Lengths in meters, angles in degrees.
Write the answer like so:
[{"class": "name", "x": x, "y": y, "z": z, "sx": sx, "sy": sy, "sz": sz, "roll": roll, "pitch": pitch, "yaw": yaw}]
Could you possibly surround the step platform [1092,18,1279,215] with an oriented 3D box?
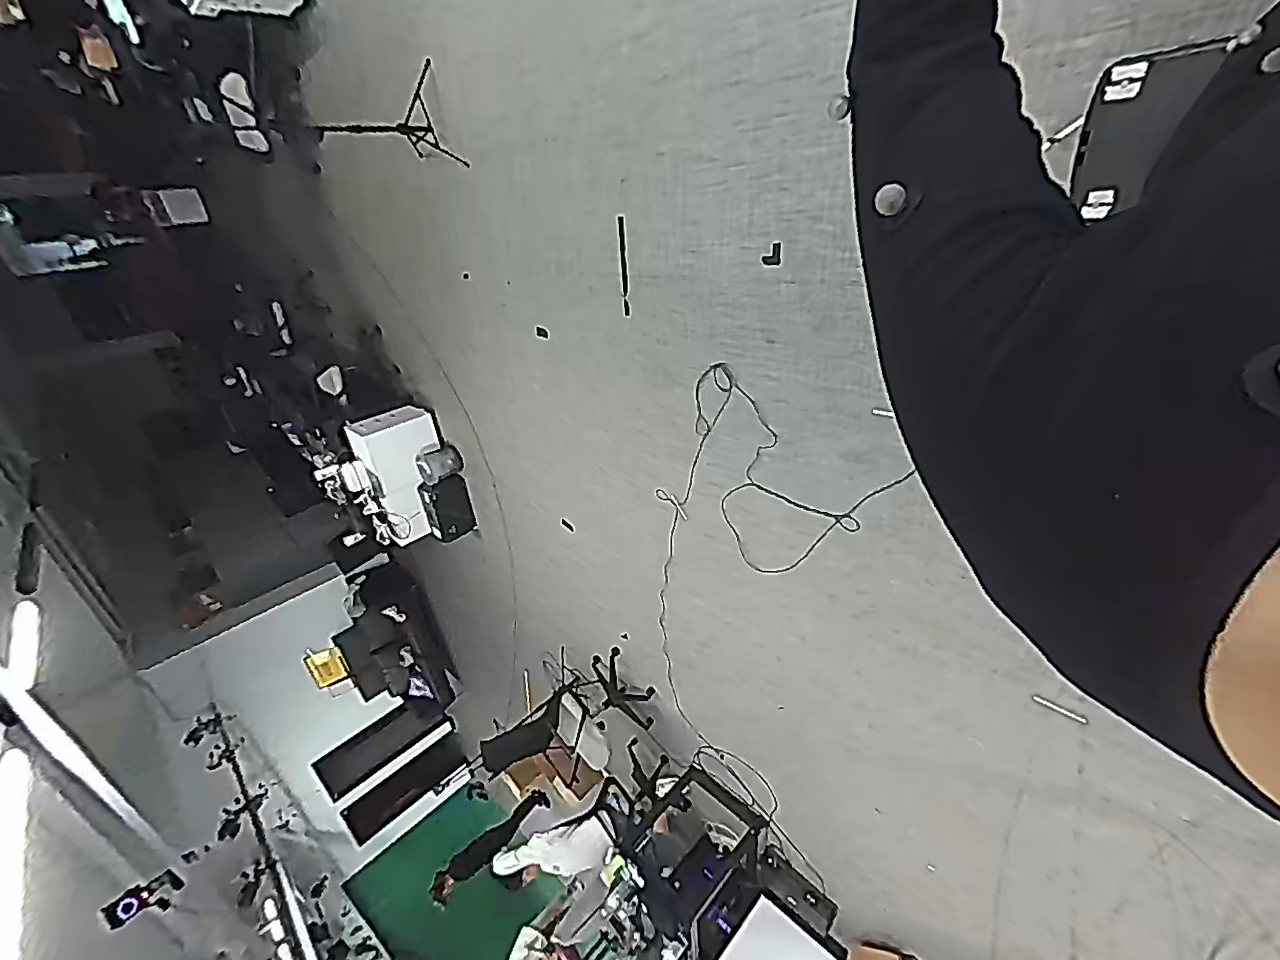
[{"class": "step platform", "x": 1.179, "y": -0.607, "z": 0.873, "sx": 0.684, "sy": 0.204, "sz": 0.286, "roll": 19, "pitch": 127, "yaw": 41}]
